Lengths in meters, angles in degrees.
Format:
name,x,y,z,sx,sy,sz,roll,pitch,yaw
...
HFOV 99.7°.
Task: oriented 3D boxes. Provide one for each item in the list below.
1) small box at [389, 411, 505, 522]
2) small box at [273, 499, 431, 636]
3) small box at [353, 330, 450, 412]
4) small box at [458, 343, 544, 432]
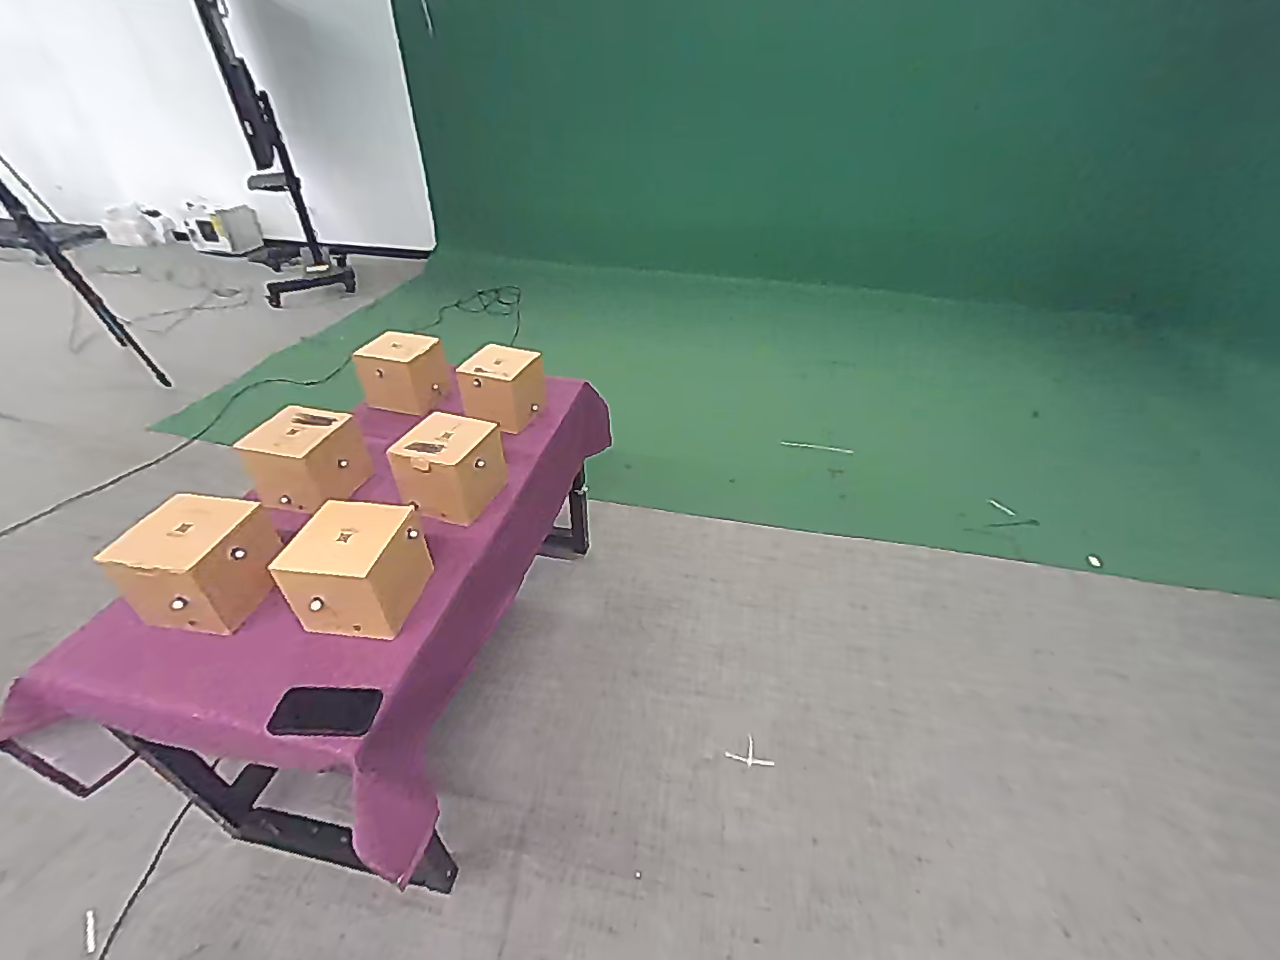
name,x,y,z,sx,sy,sz,roll,pitch,yaw
small box,-0.418,-0.030,1.207,0.168,0.176,0.179,12,39,13
small box,-0.497,0.157,0.968,0.168,0.176,0.179,4,37,4
small box,-0.678,-0.313,1.556,0.179,0.176,0.168,11,40,11
small box,-0.375,-0.257,1.497,0.168,0.176,0.179,13,39,14
